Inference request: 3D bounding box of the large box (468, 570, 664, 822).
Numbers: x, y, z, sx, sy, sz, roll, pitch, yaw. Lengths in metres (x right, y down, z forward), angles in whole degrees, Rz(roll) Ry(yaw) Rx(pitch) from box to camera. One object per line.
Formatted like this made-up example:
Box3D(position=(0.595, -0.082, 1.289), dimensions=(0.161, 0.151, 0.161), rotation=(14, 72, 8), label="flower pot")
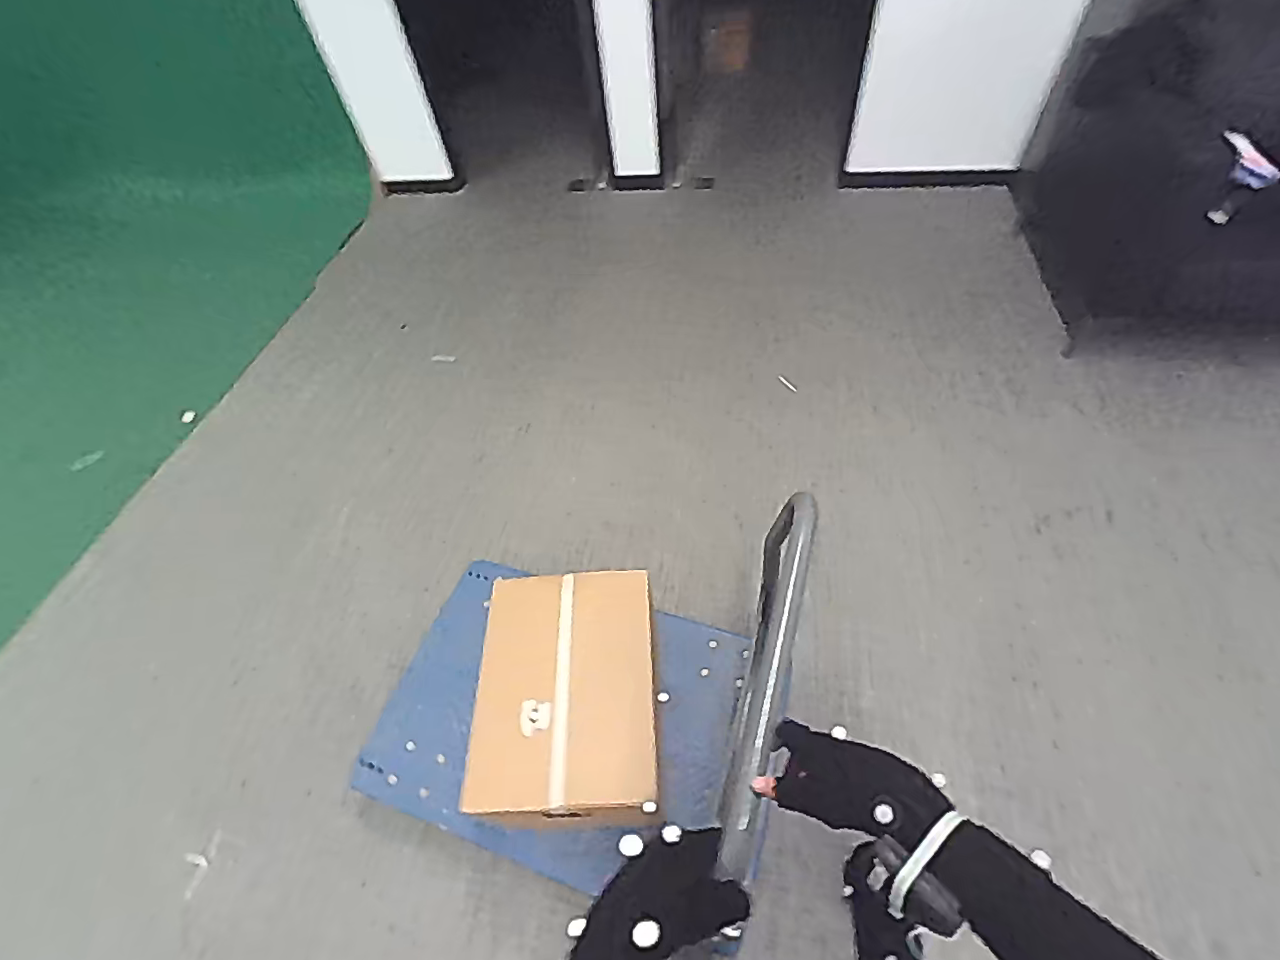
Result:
Box3D(position=(-0.118, 0.434, 1.083), dimensions=(0.320, 0.320, 0.408), rotation=(-4, 53, 3), label="large box")
